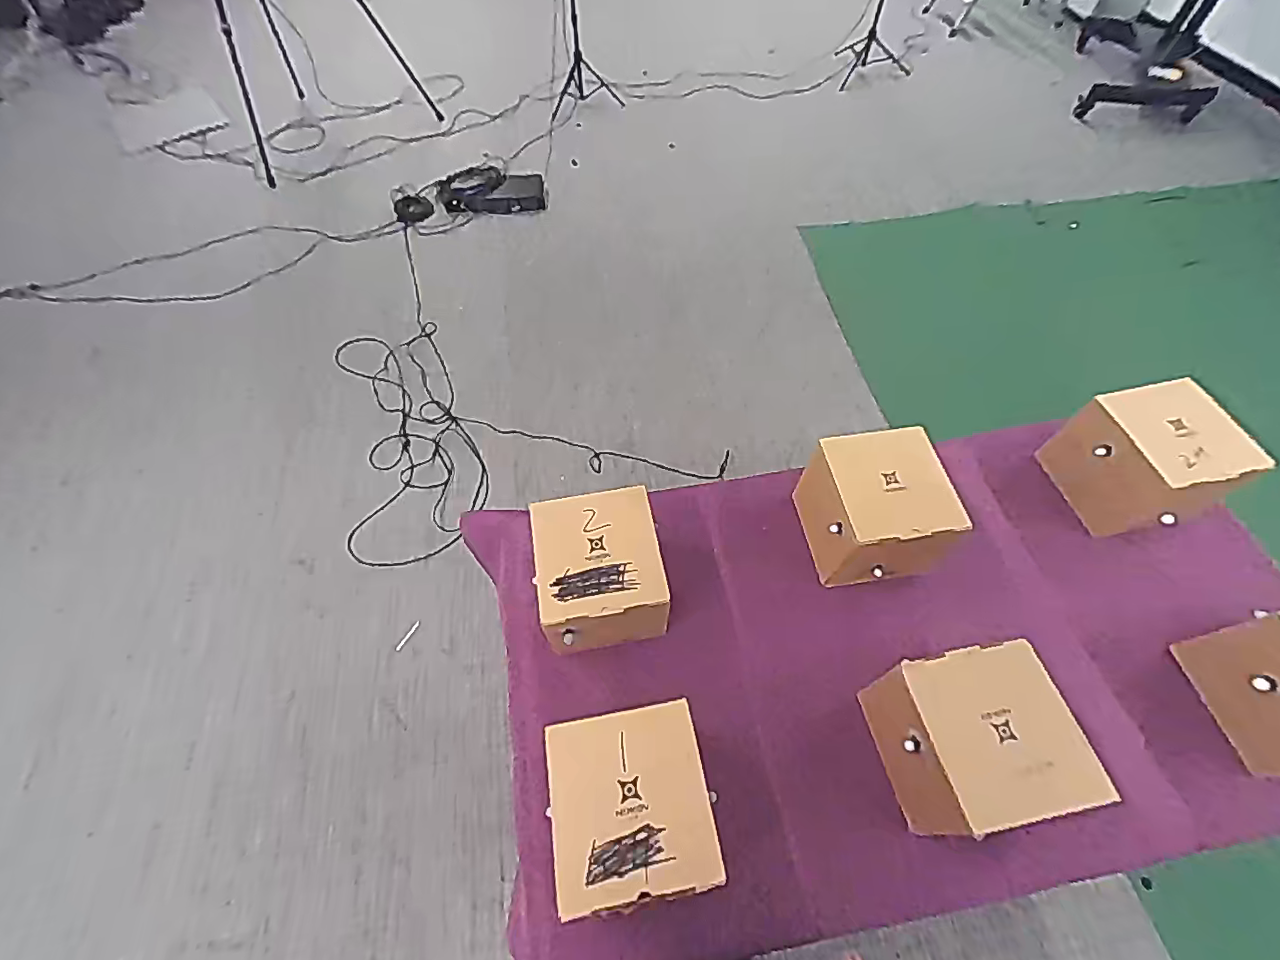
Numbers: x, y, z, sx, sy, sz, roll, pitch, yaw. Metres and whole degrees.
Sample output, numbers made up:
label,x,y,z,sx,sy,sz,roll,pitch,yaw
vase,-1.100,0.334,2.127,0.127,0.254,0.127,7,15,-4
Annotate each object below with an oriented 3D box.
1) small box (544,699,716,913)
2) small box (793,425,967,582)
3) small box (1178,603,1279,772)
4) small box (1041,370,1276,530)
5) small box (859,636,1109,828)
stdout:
label,x,y,z,sx,sy,sz,roll,pitch,yaw
small box,-0.013,0.381,0.644,0.168,0.176,0.179,-10,57,-4
small box,0.353,0.040,0.839,0.168,0.176,0.179,-8,61,-3
small box,0.862,0.254,0.681,0.168,0.176,0.179,-10,59,-2
small box,0.801,-0.044,0.864,0.168,0.176,0.179,-13,60,-2
small box,0.398,0.315,0.669,0.168,0.176,0.179,-11,58,-3
